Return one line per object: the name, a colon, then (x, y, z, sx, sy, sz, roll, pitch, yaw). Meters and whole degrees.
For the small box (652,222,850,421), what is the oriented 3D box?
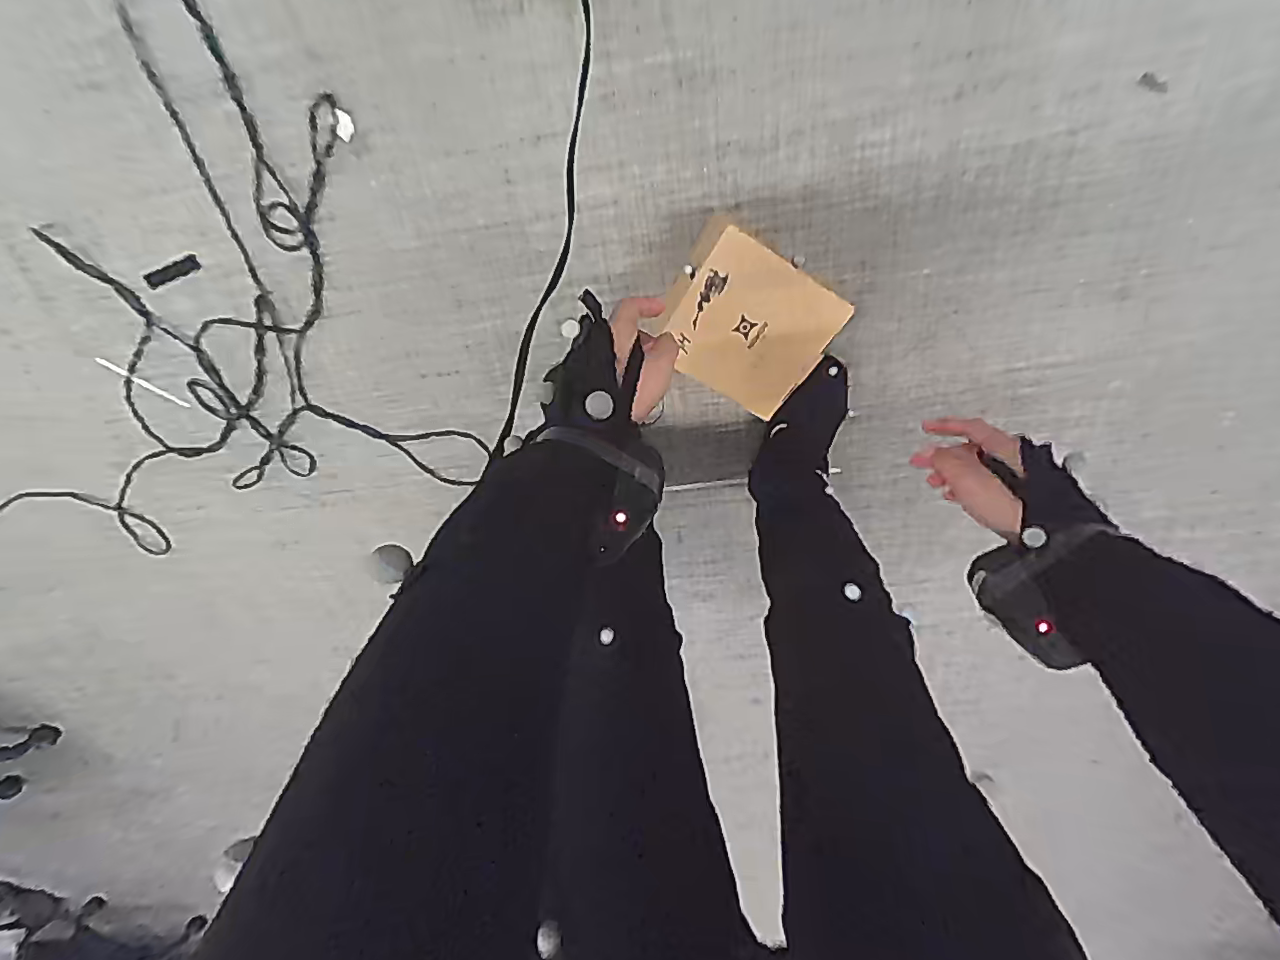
small box: (0.132, -0.212, 0.703, 0.179, 0.176, 0.168, 28, 118, -13)
